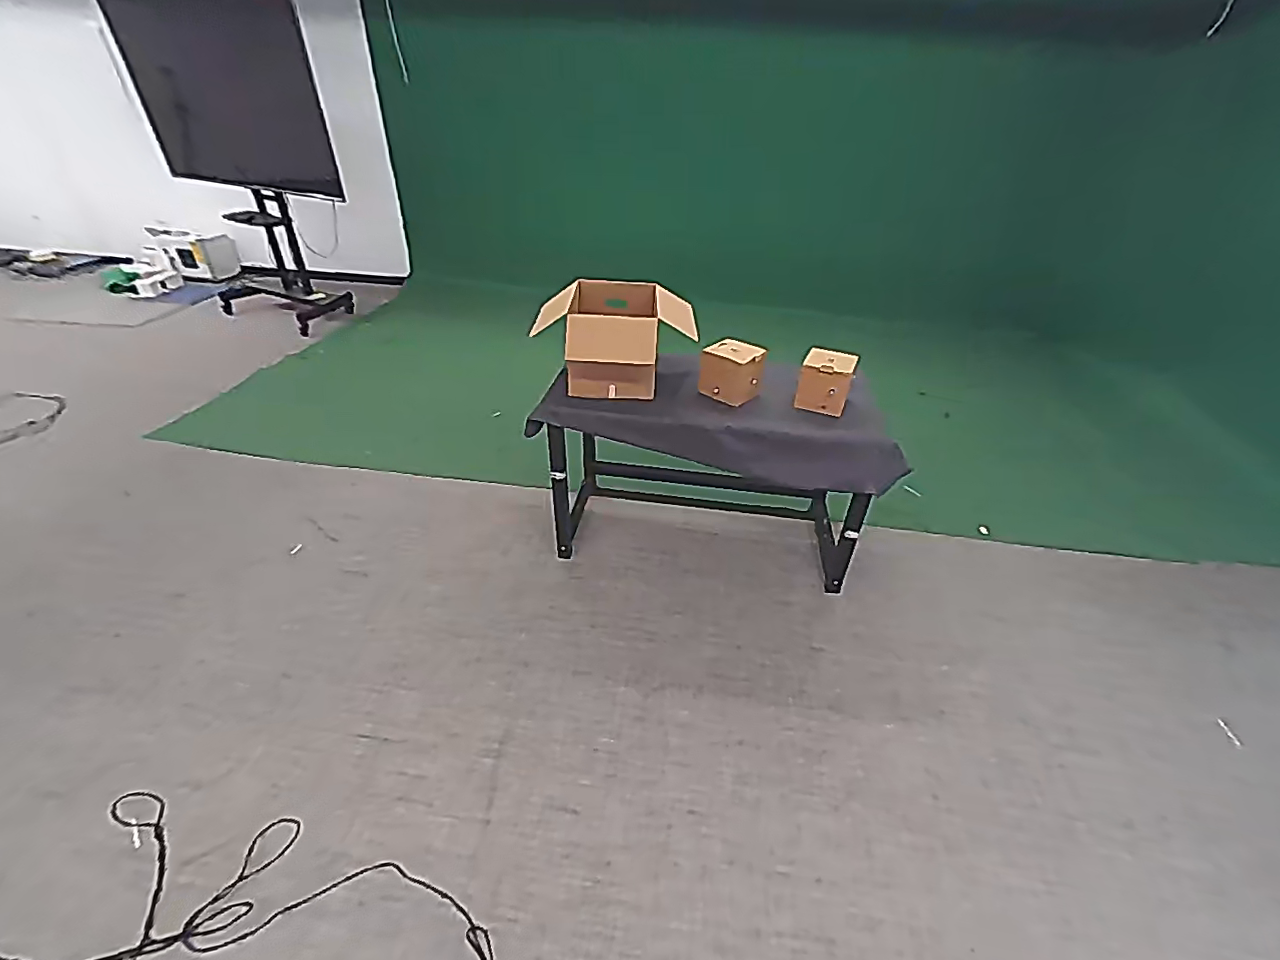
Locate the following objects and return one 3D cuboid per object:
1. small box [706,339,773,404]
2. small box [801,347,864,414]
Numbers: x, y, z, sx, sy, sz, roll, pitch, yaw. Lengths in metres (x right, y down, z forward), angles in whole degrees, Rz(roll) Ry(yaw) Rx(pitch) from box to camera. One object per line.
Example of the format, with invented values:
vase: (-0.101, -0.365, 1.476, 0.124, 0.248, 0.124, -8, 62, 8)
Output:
small box: (0.360, -0.394, 1.978, 0.179, 0.176, 0.168, 29, 44, 33)
small box: (0.686, -0.355, 1.933, 0.168, 0.176, 0.179, 17, 37, 19)
